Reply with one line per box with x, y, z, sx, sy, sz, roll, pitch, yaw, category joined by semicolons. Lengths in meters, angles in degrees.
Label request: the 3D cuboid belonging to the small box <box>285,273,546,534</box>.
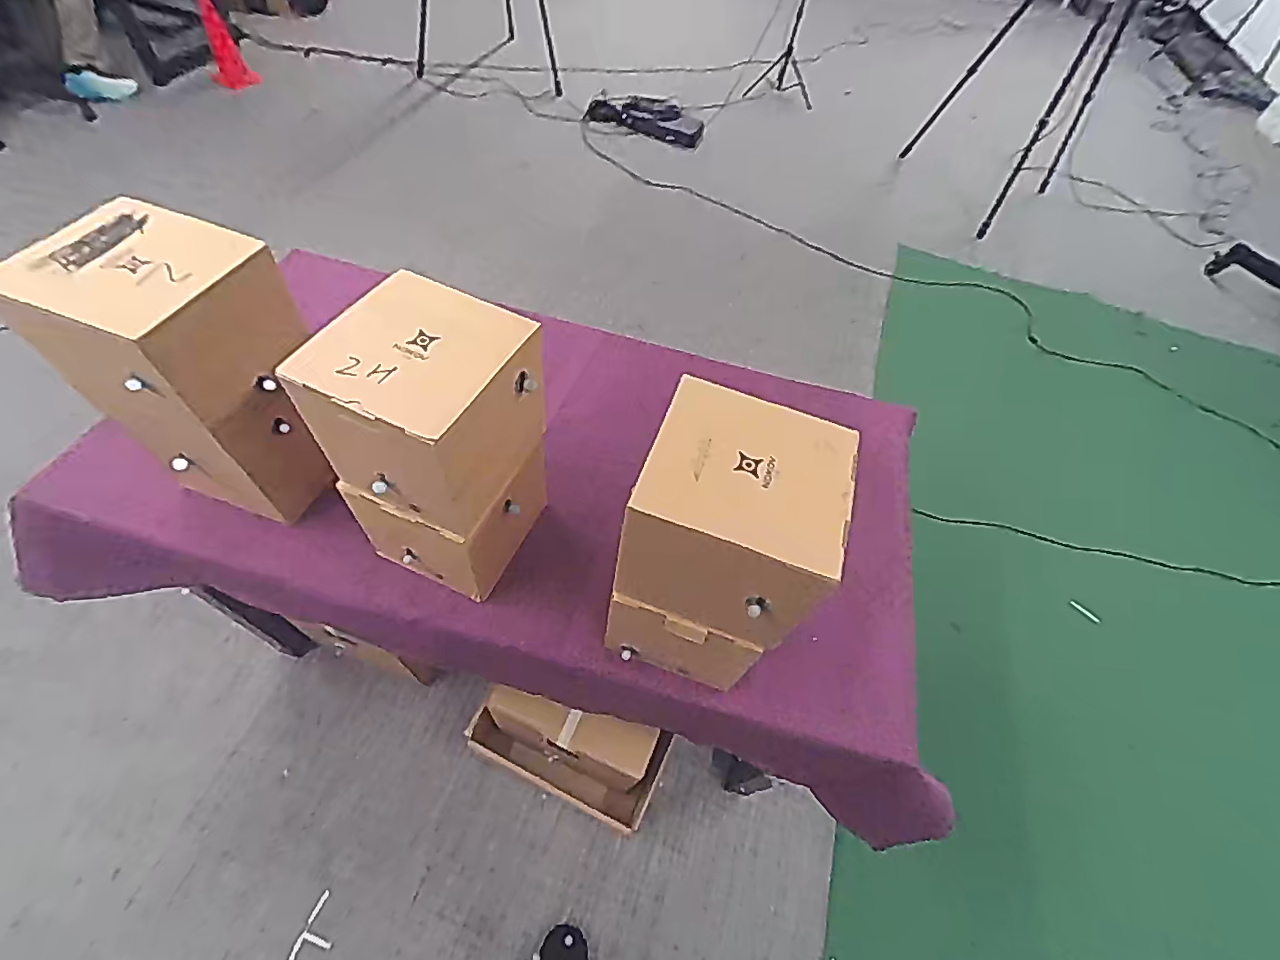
-0.211;-0.076;0.567;0.168;0.176;0.179;24;57;9;small box

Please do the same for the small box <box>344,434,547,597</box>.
-0.233;0.020;0.699;0.168;0.176;0.179;23;57;8;small box

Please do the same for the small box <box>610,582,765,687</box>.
0.067;0.130;0.663;0.168;0.176;0.179;19;55;6;small box

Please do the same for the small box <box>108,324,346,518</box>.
-0.515;-0.073;0.722;0.179;0.176;0.168;19;57;6;small box

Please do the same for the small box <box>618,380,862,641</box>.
0.089;0.038;0.529;0.179;0.176;0.168;20;55;7;small box
